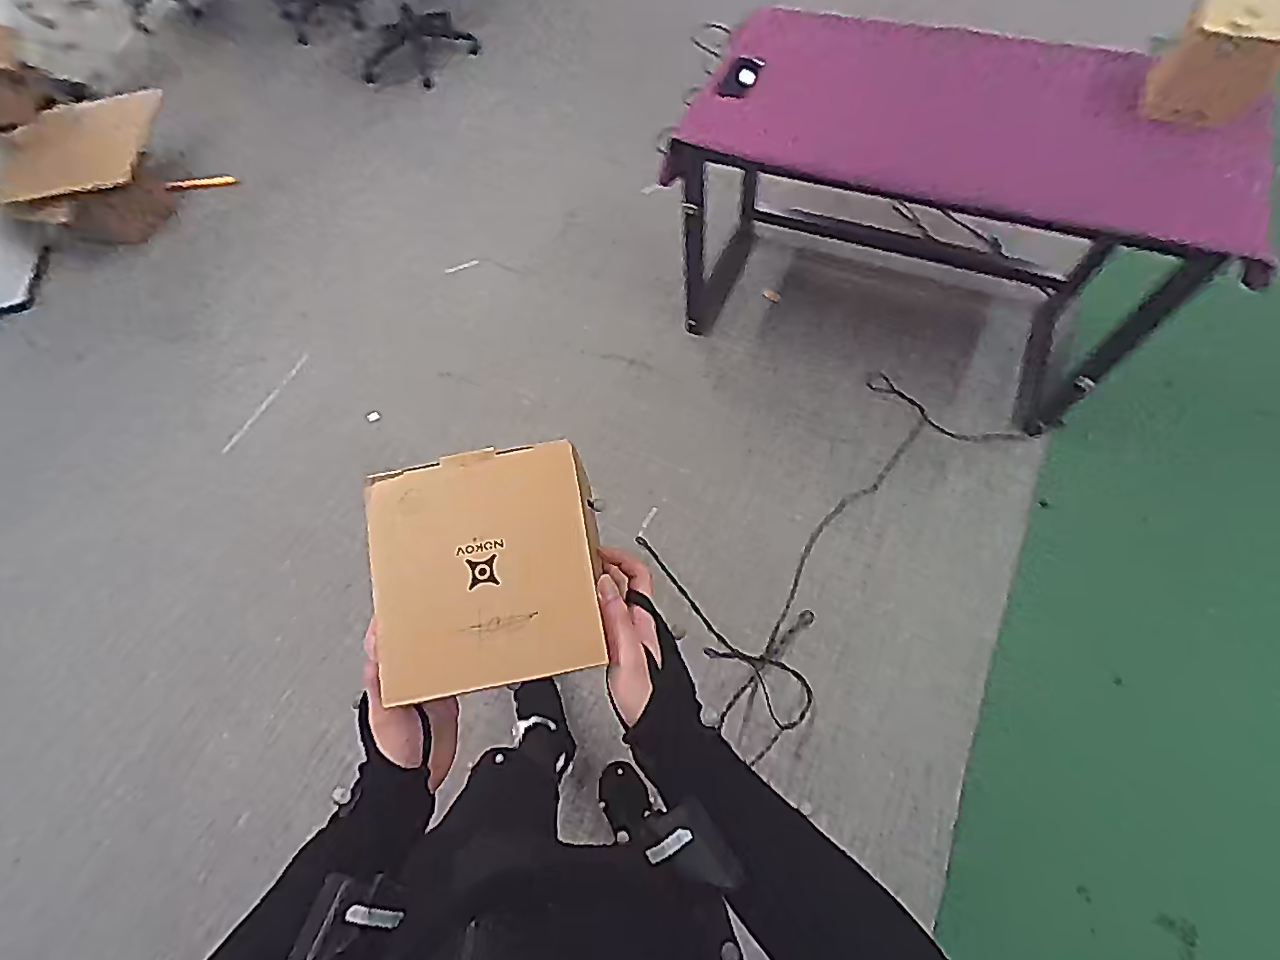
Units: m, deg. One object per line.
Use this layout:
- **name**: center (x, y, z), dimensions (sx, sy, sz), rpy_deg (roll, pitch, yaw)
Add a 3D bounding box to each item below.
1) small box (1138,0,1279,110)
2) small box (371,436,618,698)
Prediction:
- **small box**: center (1.176, -0.903, 1.107), dimensions (0.168, 0.176, 0.179), rpy_deg (22, 69, 18)
- **small box**: center (-0.116, 0.078, 0.485), dimensions (0.168, 0.176, 0.179), rpy_deg (-10, 78, -1)
